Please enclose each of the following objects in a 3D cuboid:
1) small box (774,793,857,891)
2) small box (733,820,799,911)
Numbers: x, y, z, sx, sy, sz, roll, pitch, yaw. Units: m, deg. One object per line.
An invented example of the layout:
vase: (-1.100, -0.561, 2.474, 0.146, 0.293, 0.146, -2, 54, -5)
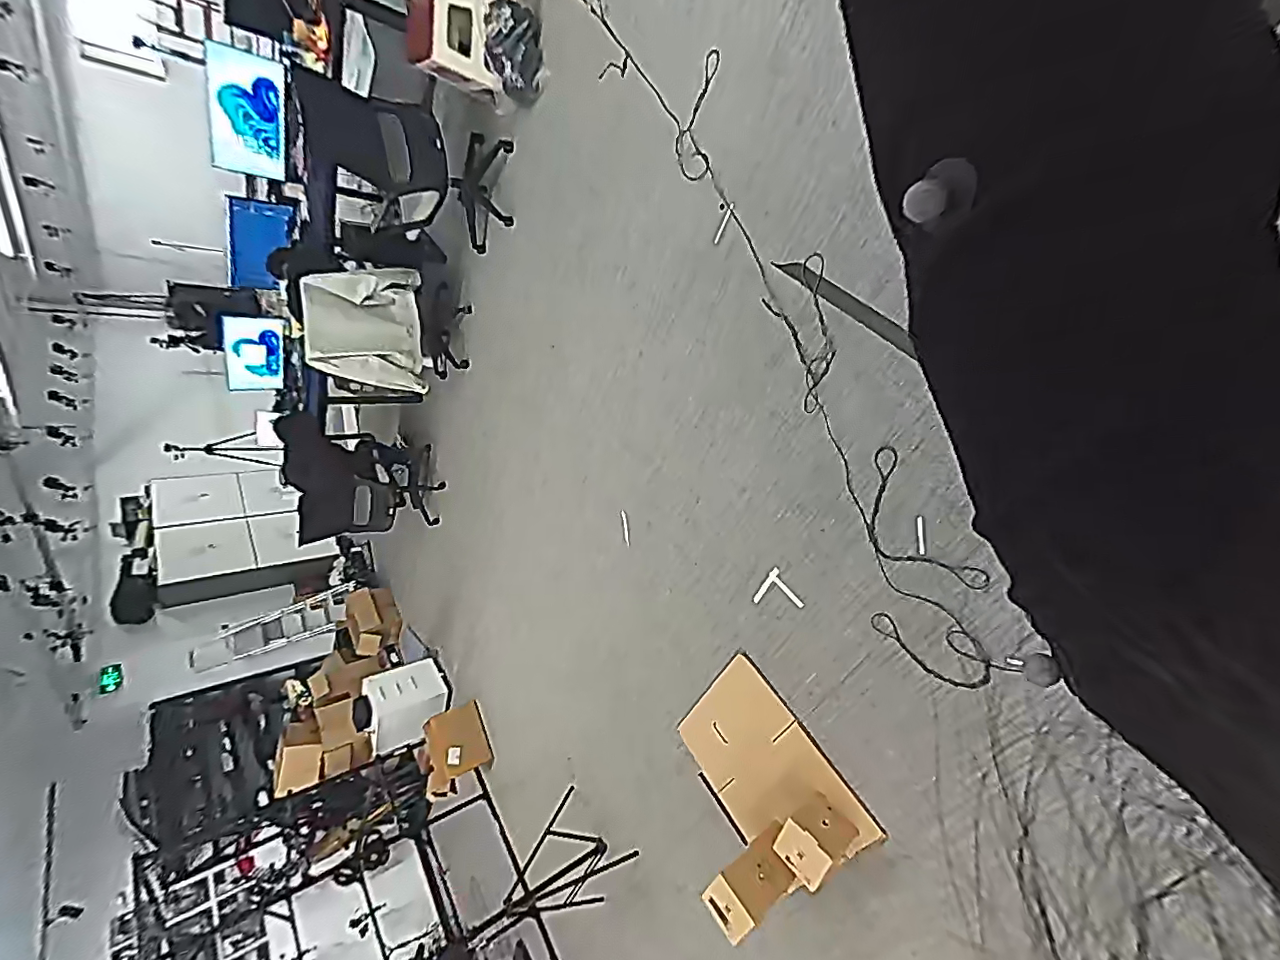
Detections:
small box: (0.574, 1.166, 1.755, 0.168, 0.176, 0.179, 37, 123, 40)
small box: (0.467, 1.366, 1.921, 0.168, 0.176, 0.179, 41, 125, 37)
